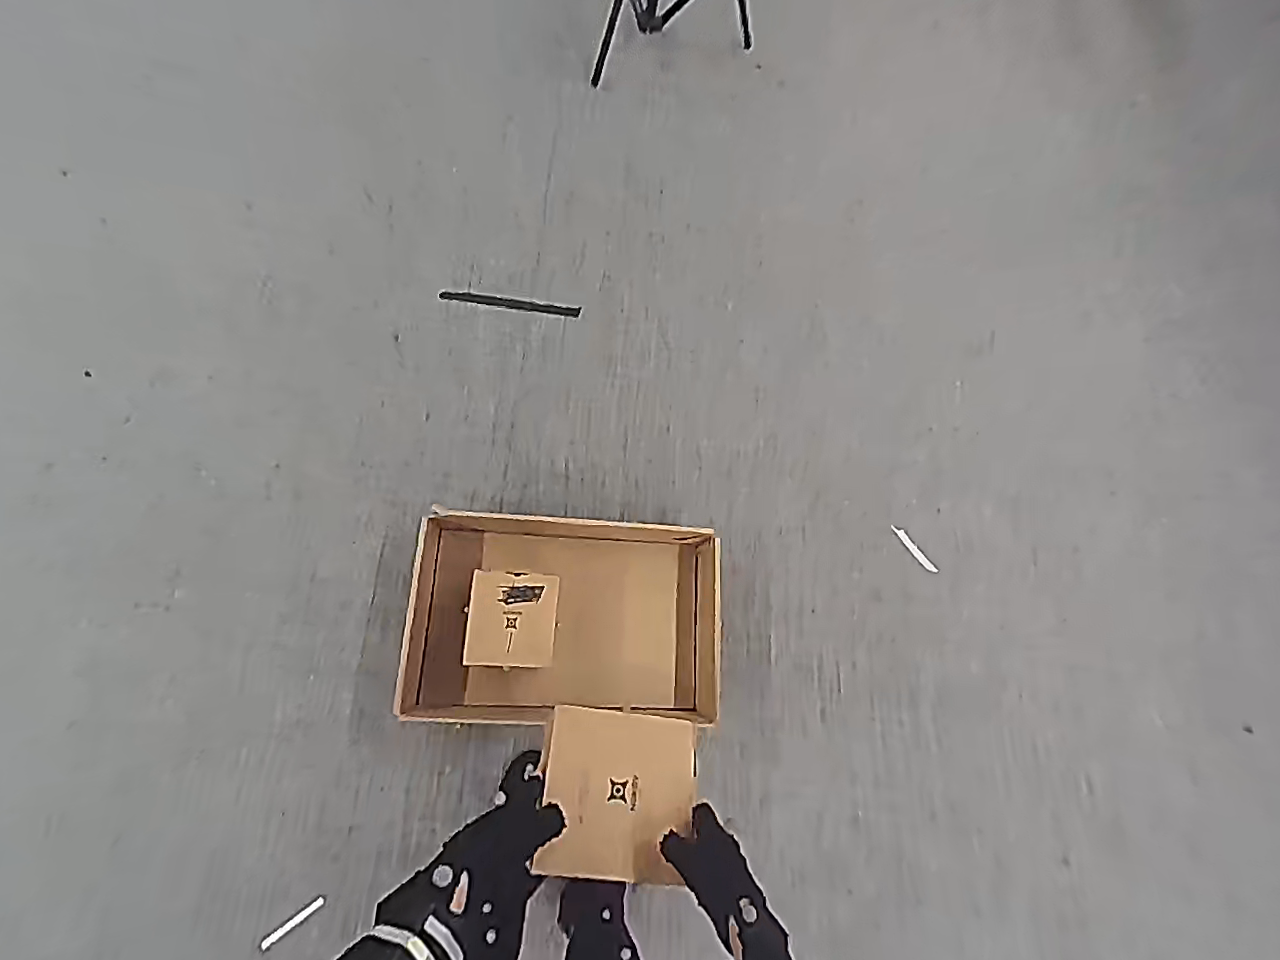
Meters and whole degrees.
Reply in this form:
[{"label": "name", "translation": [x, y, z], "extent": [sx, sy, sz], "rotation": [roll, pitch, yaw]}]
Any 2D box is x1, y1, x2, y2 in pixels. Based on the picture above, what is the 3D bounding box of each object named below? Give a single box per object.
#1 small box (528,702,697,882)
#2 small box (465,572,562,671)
[{"label": "small box", "translation": [-0.037, 0.389, 0.676], "extent": [0.179, 0.176, 0.168], "rotation": [10, 55, -8]}, {"label": "small box", "translation": [-0.253, 0.289, 1.103], "extent": [0.168, 0.176, 0.179], "rotation": [6, 74, -9]}]
